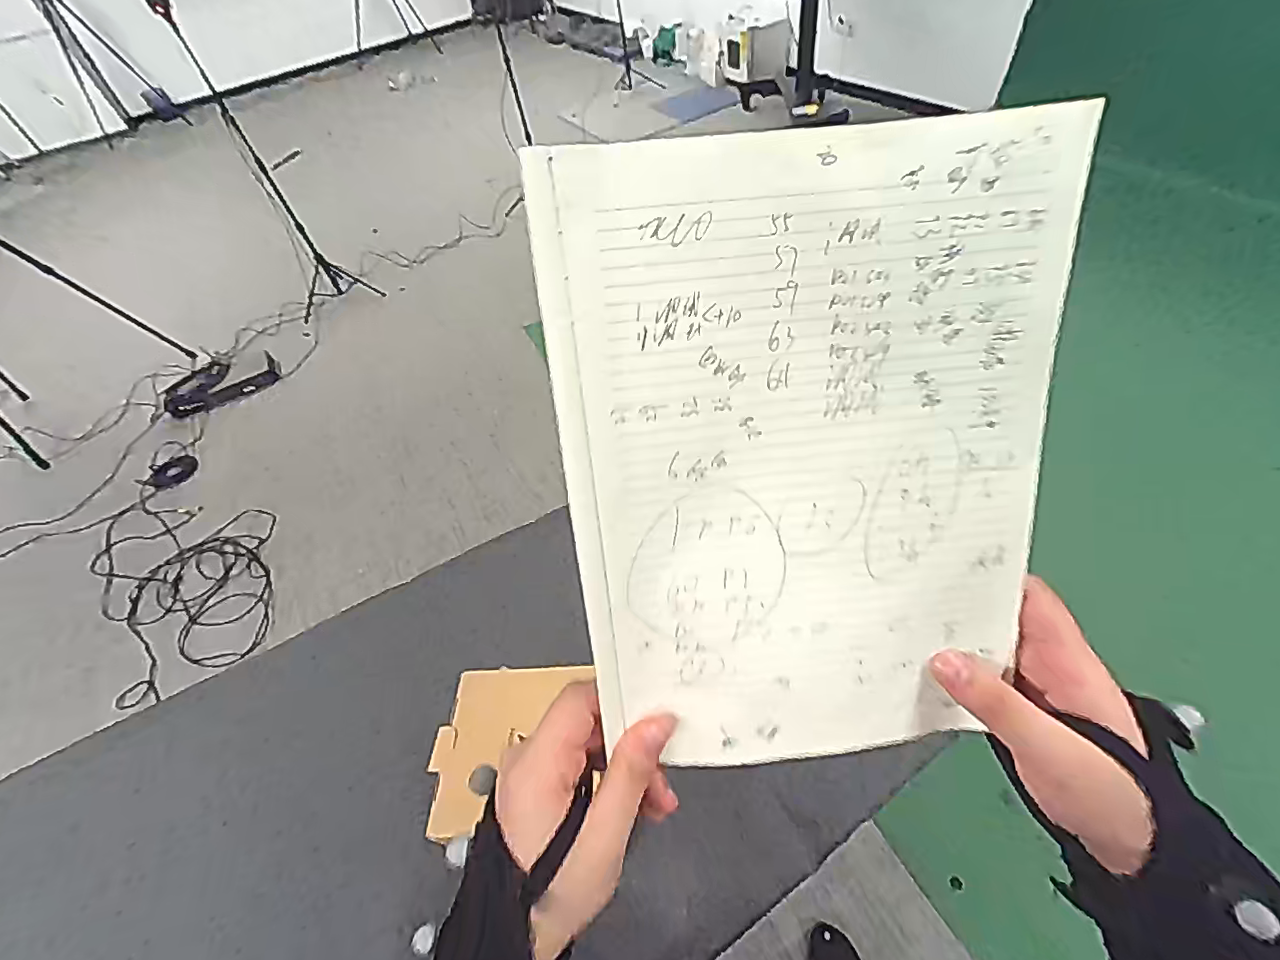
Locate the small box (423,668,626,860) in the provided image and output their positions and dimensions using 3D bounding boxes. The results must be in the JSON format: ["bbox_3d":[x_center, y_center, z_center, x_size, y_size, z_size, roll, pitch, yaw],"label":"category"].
[{"bbox_3d":[-0.113,0.329,0.624,0.179,0.176,0.168,-6,50,7],"label":"small box"}]
